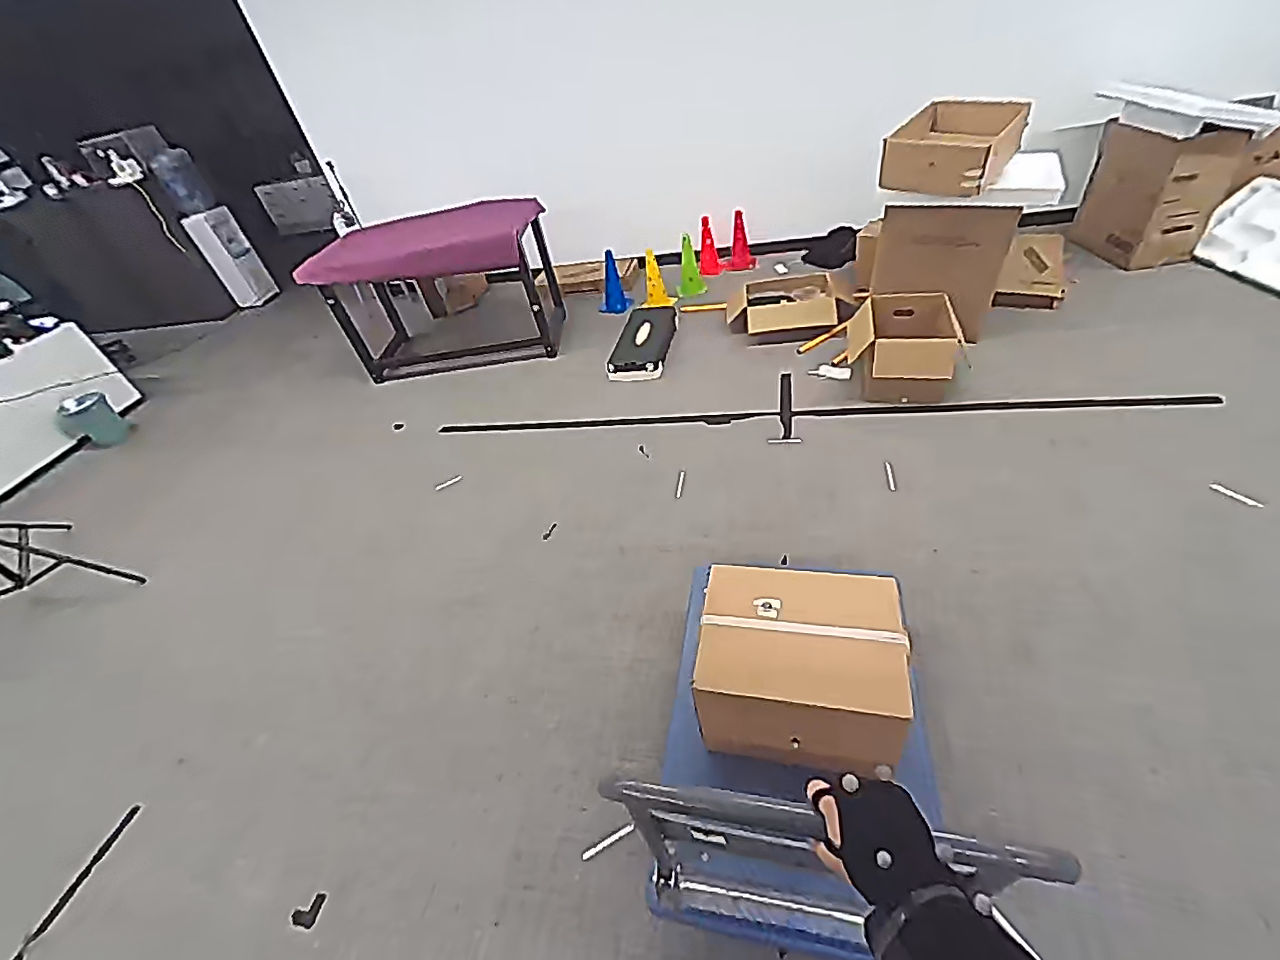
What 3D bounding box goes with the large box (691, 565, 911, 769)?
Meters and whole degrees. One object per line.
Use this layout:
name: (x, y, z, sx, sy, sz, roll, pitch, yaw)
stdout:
large box: (0.350, 0.412, 1.213, 0.408, 0.320, 0.320, 0, 42, 16)
